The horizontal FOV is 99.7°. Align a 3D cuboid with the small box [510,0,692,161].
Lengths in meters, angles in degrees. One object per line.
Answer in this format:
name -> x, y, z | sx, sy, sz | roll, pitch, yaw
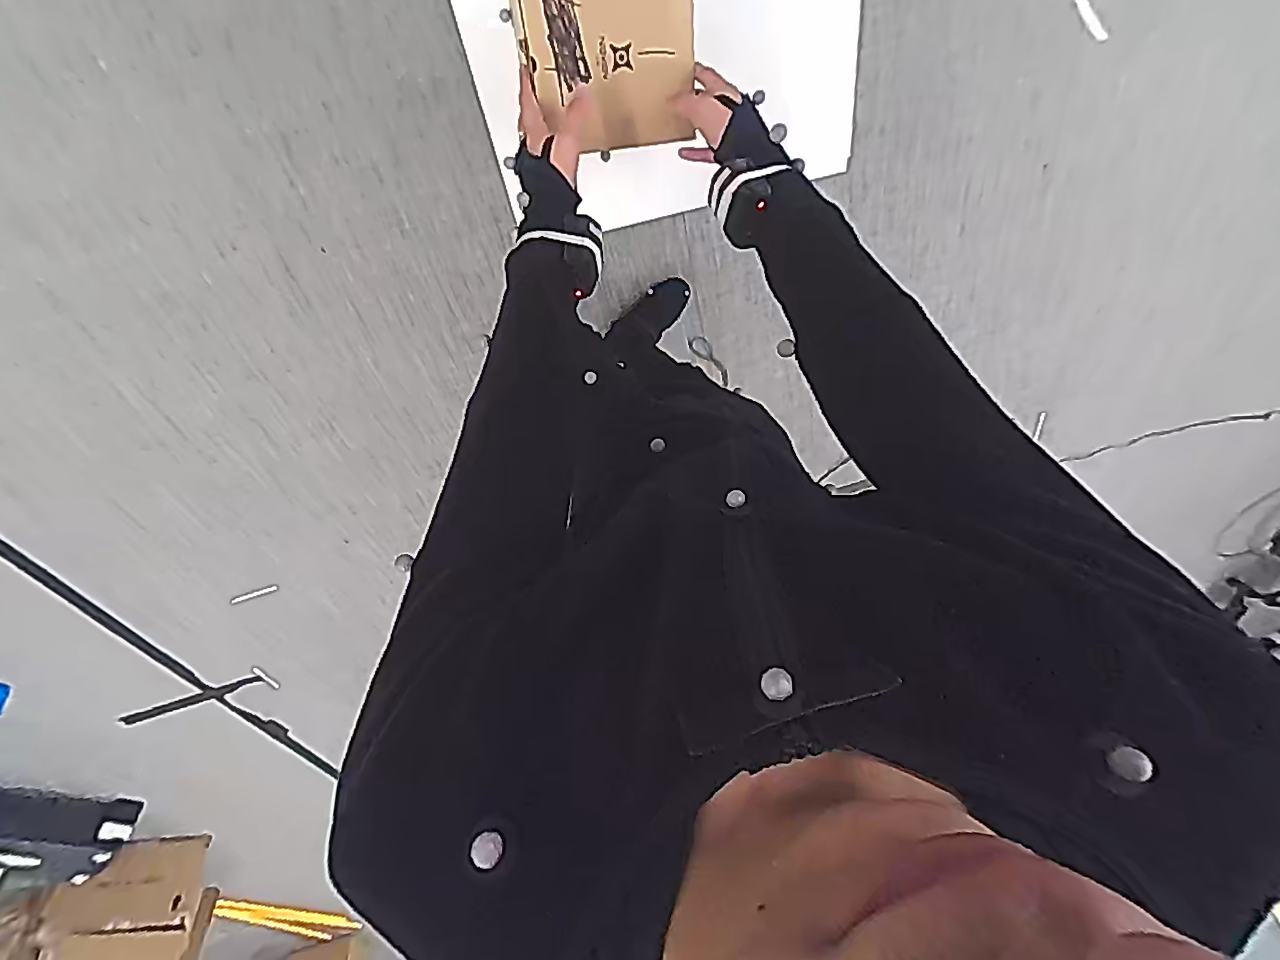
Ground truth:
small box -> -0.048, -0.472, 0.619 | 0.179, 0.176, 0.168 | -12, 127, -8
